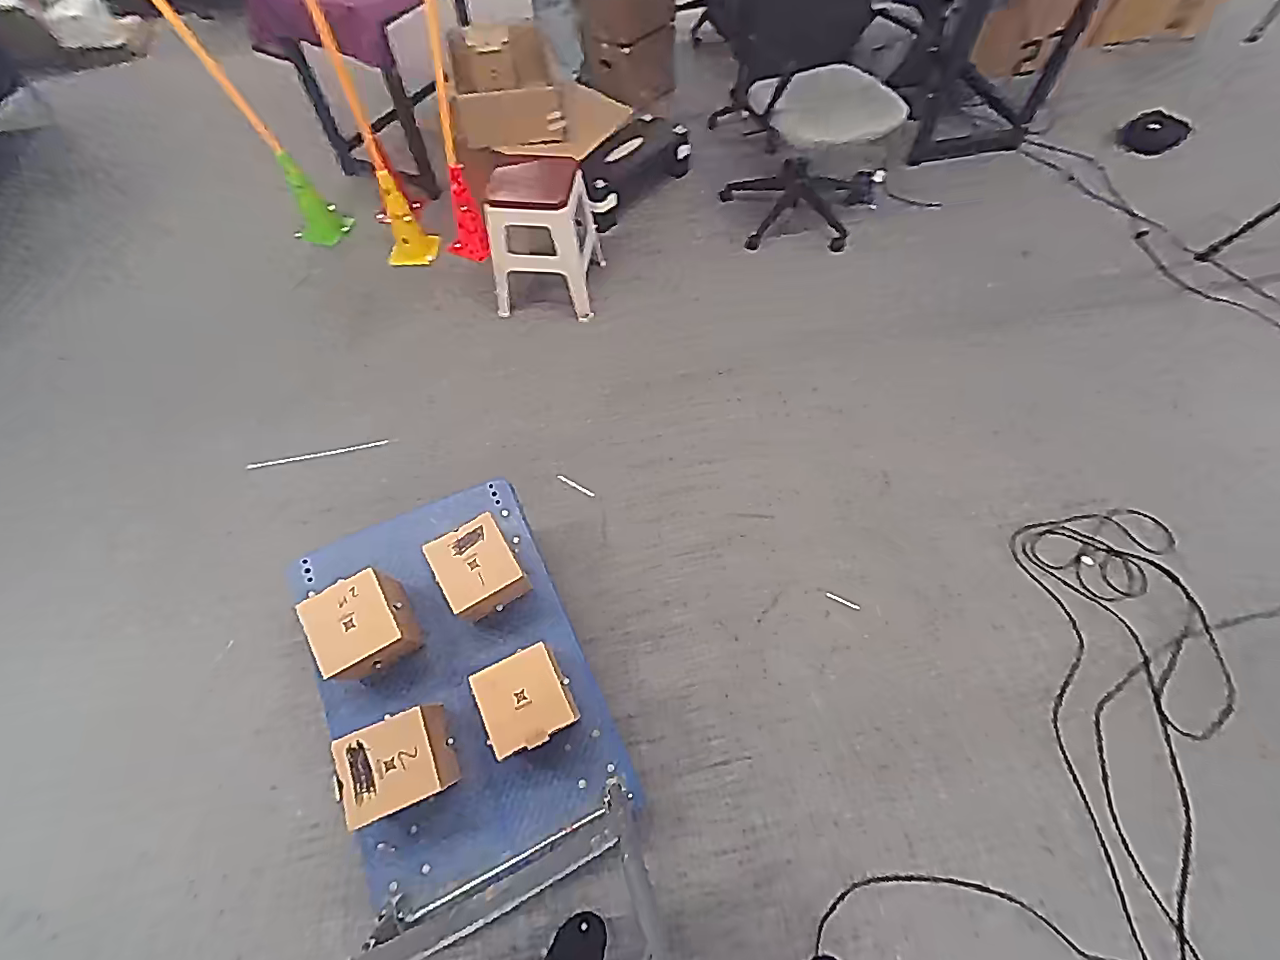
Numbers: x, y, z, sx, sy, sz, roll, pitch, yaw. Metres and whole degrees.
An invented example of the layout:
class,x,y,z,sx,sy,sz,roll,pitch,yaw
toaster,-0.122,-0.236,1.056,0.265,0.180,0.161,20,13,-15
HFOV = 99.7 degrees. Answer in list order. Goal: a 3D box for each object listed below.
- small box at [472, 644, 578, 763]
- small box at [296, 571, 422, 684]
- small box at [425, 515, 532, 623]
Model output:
class,x,y,z,sx,sy,sz,roll,pitch,yaw
small box,-0.241,0.476,1.163,0.168,0.176,0.179,-24,73,-12
small box,-0.608,0.328,1.193,0.168,0.176,0.179,-28,73,-15
small box,-0.368,0.212,1.255,0.168,0.176,0.179,-29,74,-13
